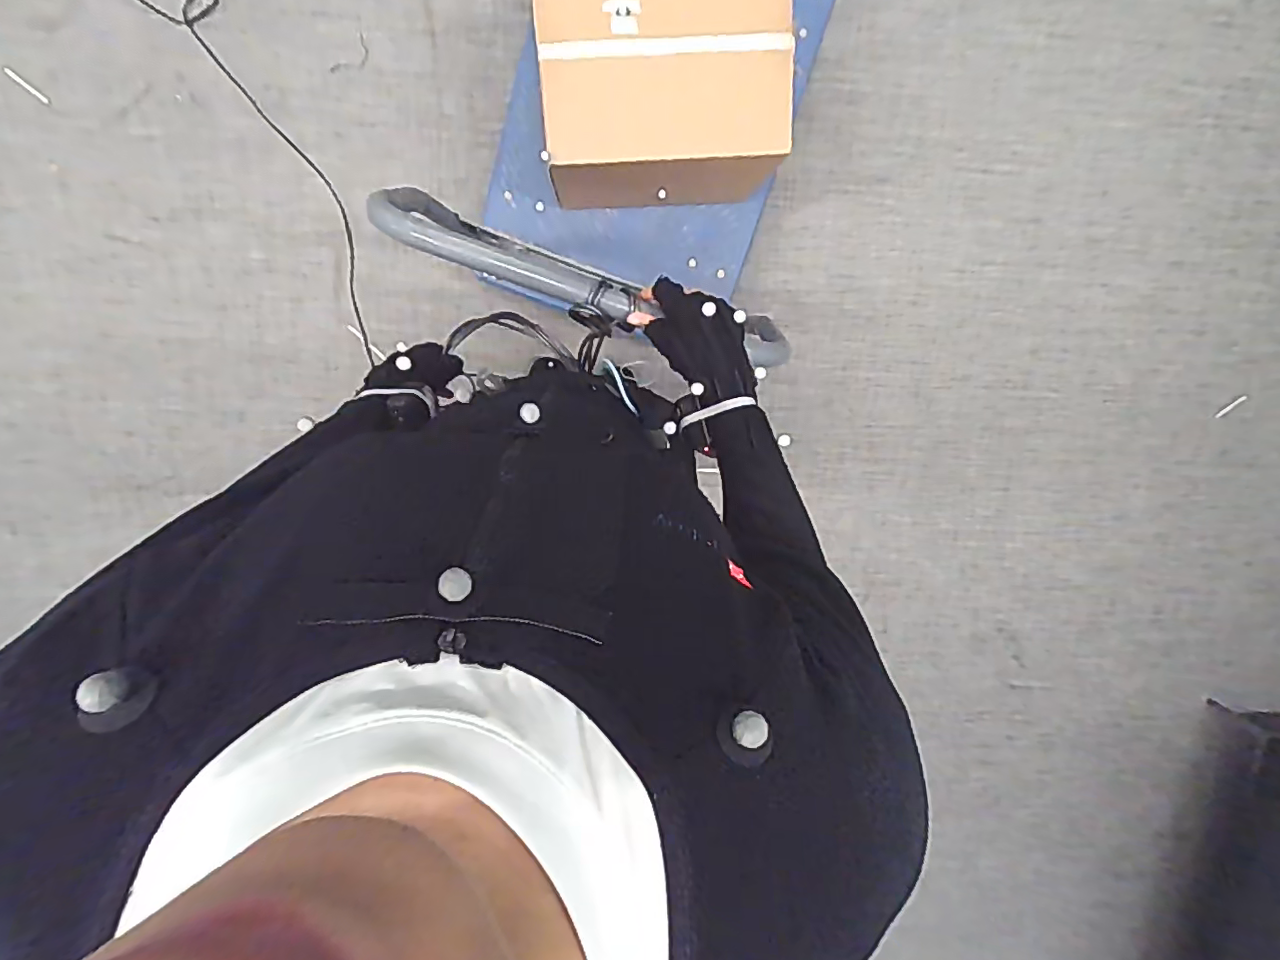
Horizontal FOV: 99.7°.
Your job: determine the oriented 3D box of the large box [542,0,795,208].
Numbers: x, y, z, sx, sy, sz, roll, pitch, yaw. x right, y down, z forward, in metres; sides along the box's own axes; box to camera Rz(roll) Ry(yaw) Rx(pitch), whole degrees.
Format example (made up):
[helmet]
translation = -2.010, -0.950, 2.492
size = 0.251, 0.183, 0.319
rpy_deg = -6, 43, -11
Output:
[large box]
translation = 0.046, -0.716, 1.006
size = 0.408, 0.320, 0.320
rpy_deg = -4, 104, -2
